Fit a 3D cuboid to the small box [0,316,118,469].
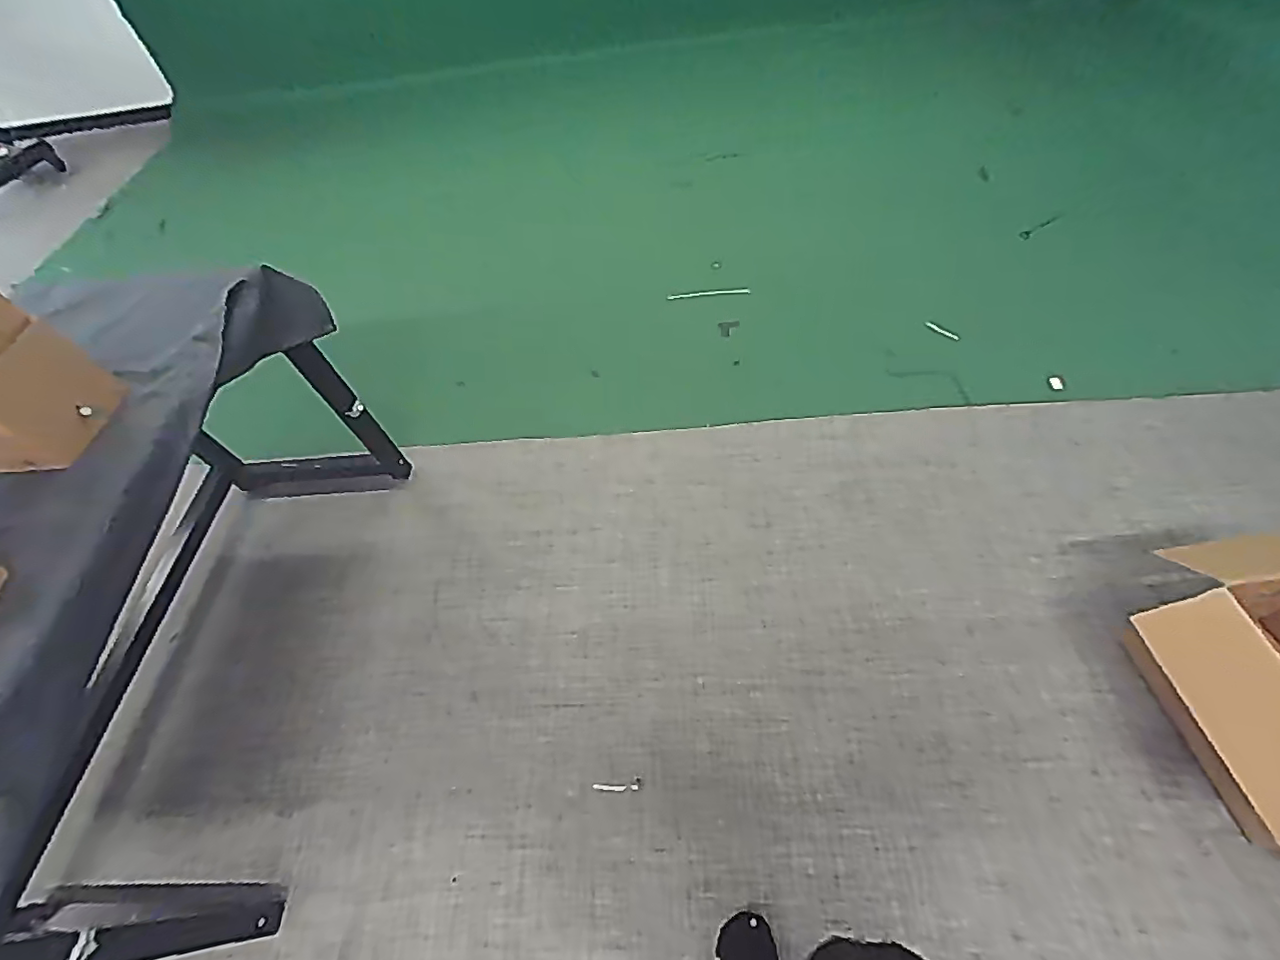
[{"bbox_3d":[-1.008,-0.136,0.862,0.168,0.176,0.179,-3,55,6],"label":"small box"}]
